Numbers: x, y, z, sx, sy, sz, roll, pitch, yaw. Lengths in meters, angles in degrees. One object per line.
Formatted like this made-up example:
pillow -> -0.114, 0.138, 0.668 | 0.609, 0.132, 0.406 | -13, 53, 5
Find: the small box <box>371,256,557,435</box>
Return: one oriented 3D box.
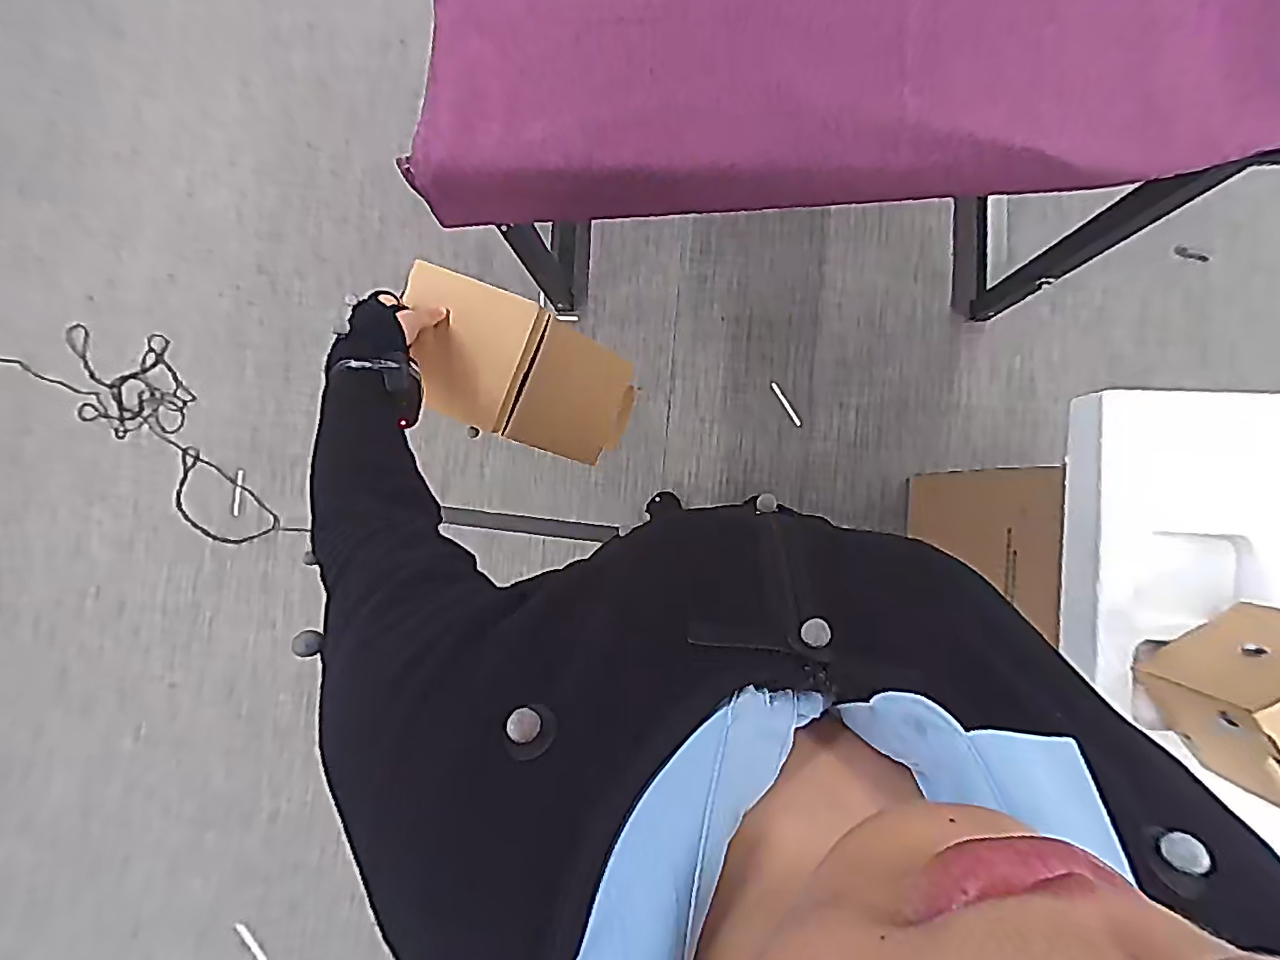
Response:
small box -> -0.223, -0.171, 0.740 | 0.179, 0.176, 0.168 | 22, 92, -6
